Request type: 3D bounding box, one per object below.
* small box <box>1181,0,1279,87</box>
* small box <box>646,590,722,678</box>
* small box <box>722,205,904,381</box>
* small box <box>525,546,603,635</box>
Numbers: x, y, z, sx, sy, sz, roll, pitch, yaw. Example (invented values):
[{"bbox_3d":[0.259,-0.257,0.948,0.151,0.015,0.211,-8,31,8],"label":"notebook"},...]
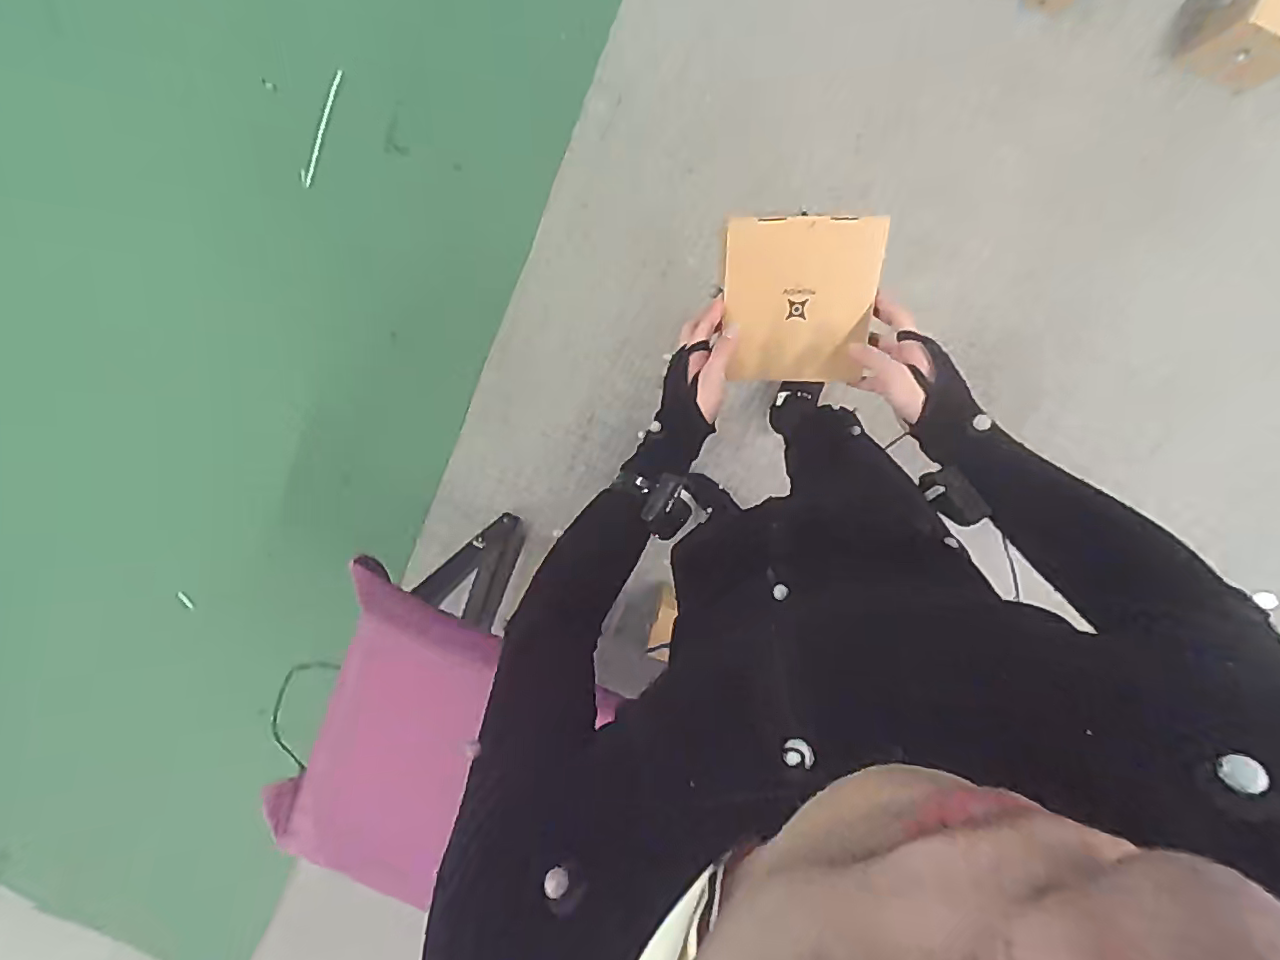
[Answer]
[{"bbox_3d":[1.334,-0.985,1.148,0.179,0.176,0.168,25,104,0],"label":"small box"},{"bbox_3d":[0.130,0.445,1.597,0.179,0.176,0.168,18,105,1],"label":"small box"},{"bbox_3d":[0.188,-0.230,0.649,0.168,0.176,0.179,3,117,5],"label":"small box"},{"bbox_3d":[-0.217,0.320,1.604,0.168,0.176,0.179,22,105,1],"label":"small box"}]
